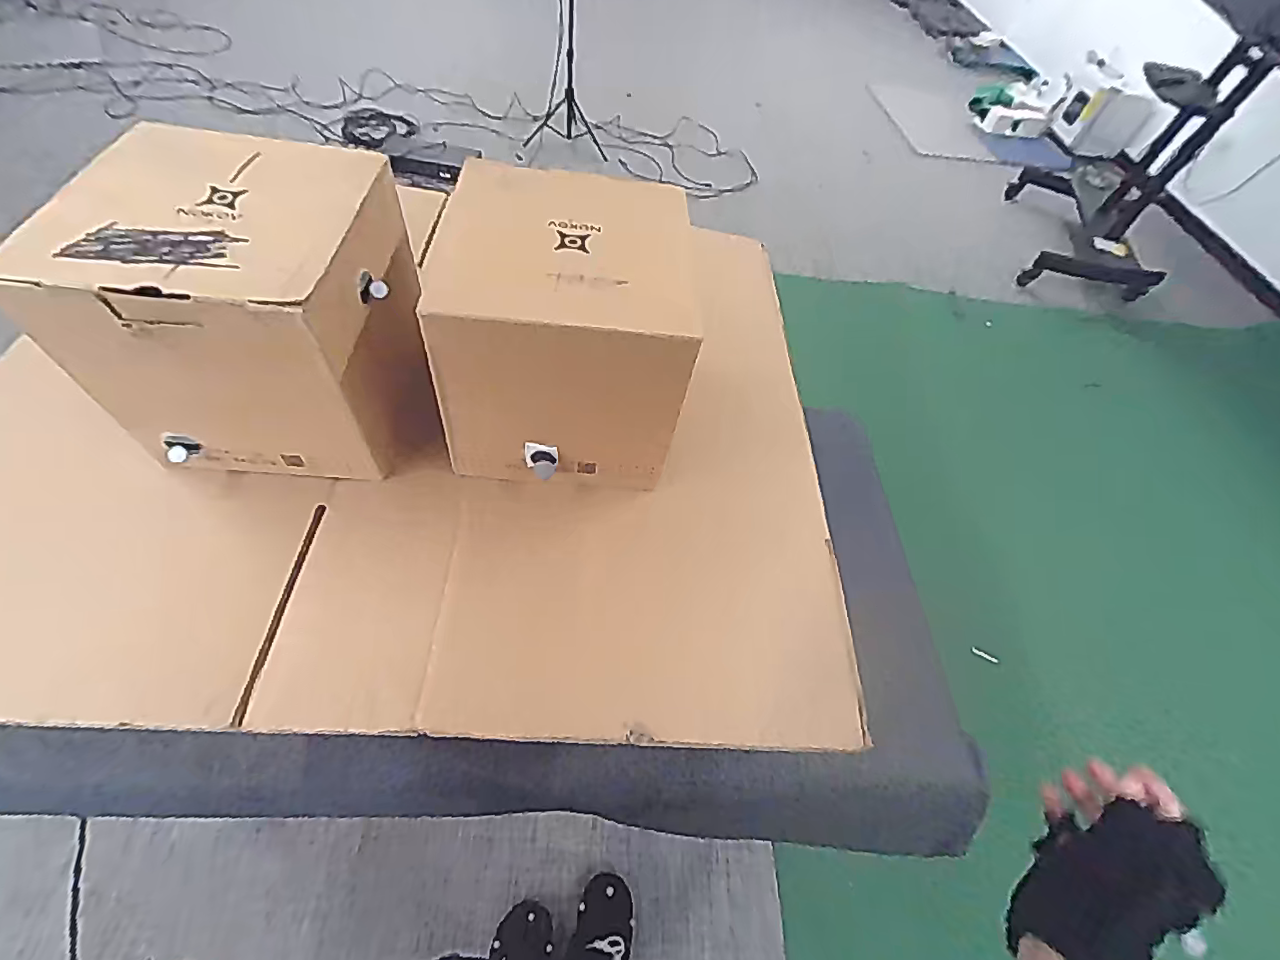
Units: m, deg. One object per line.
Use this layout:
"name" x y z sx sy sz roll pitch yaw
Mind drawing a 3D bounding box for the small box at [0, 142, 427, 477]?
"small box" -0.274 -0.118 0.408 0.168 0.176 0.179 4 55 -6
